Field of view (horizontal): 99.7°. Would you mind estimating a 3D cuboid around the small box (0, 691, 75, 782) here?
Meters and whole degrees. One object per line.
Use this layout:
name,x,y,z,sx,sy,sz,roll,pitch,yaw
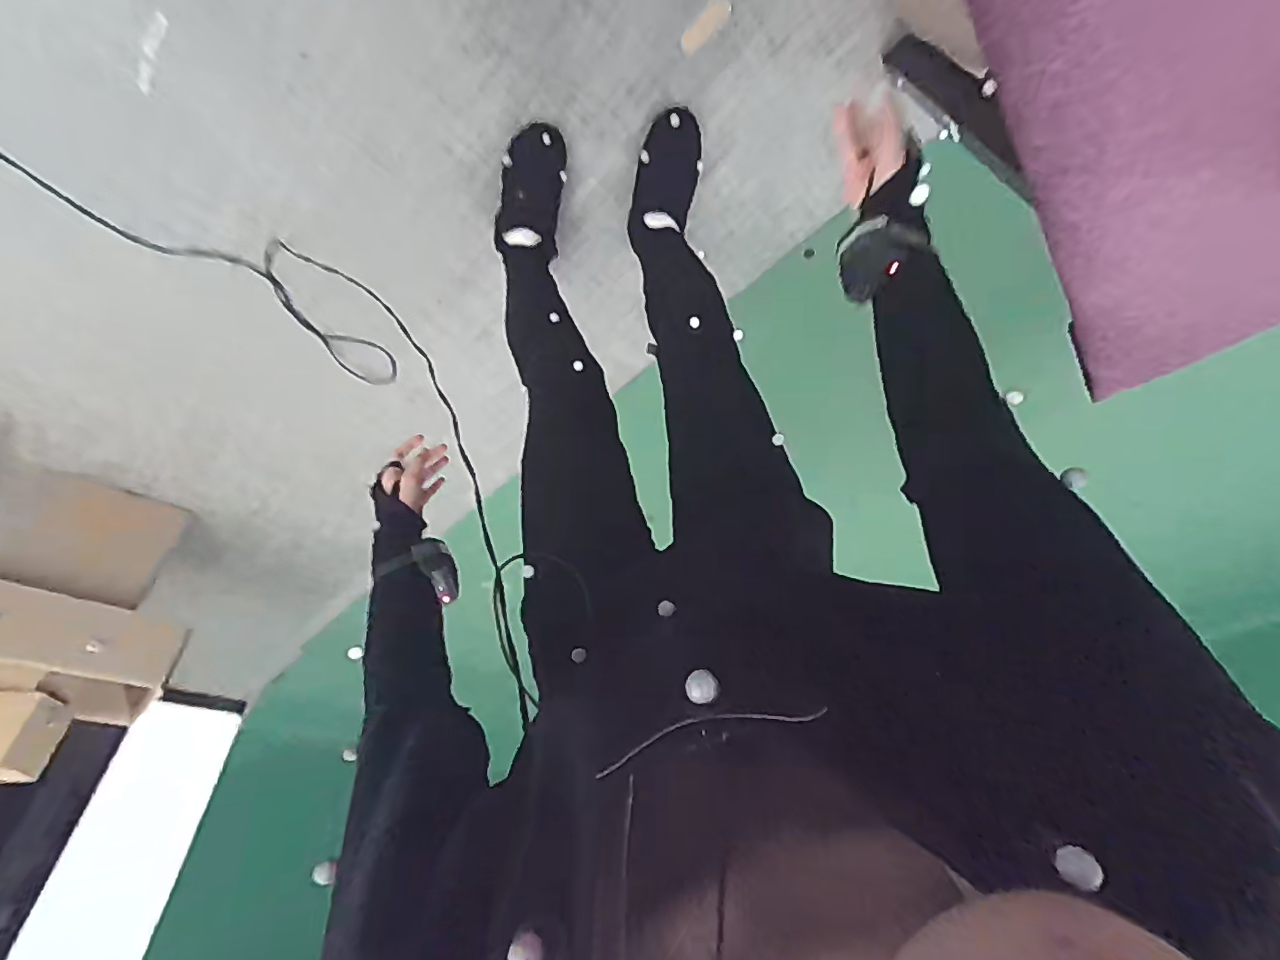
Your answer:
small box,-1.564,0.624,1.318,0.179,0.176,0.168,8,139,-13
